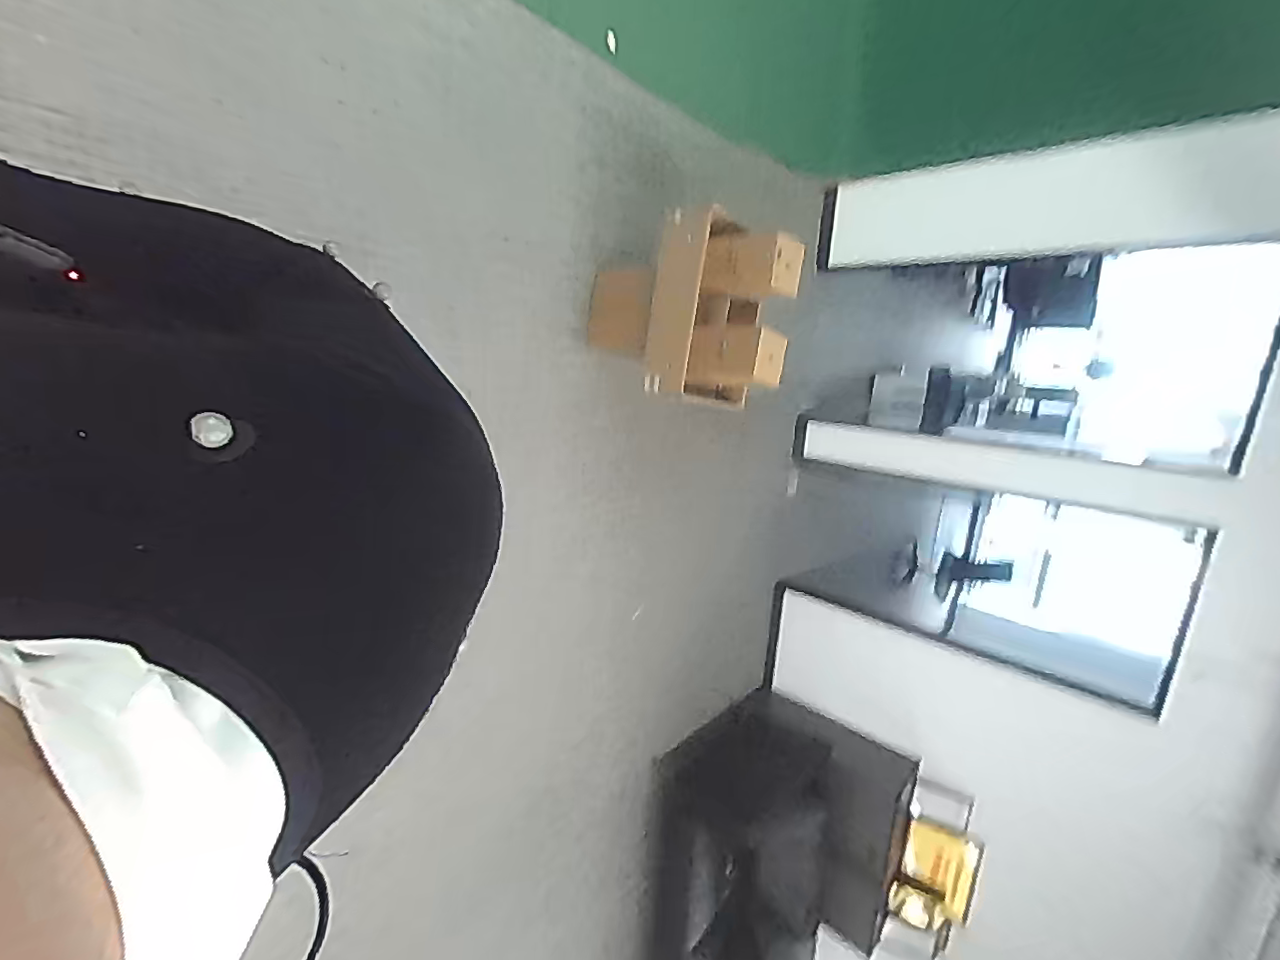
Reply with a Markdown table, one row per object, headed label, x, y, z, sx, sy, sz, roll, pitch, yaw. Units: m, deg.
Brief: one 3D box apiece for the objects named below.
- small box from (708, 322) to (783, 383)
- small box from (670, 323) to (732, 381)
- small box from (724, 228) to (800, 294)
| label | x | y | z | sx | sy | sz | roll | pitch | yaw |
| --- | --- | --- | --- | --- | --- | --- | --- | --- | --- |
| small box | 0.354 | -0.430 | 1.820 | 0.179 | 0.176 | 0.168 | 5 | 97 | -50 |
| small box | 0.233 | -0.457 | 1.925 | 0.179 | 0.176 | 0.168 | 6 | 96 | -50 |
| small box | 0.401 | -0.715 | 1.784 | 0.179 | 0.176 | 0.168 | -5 | 104 | -49 |
